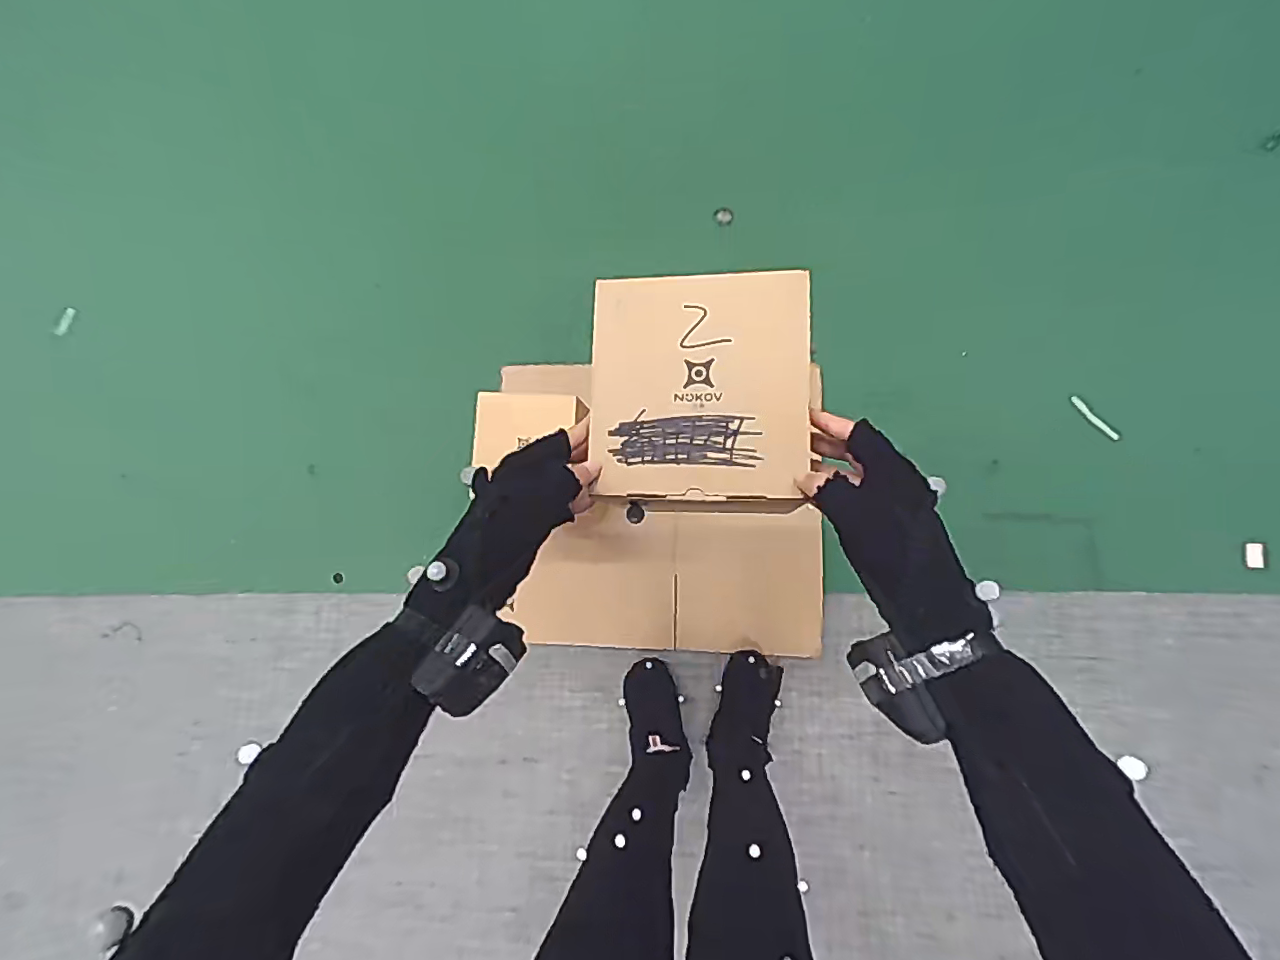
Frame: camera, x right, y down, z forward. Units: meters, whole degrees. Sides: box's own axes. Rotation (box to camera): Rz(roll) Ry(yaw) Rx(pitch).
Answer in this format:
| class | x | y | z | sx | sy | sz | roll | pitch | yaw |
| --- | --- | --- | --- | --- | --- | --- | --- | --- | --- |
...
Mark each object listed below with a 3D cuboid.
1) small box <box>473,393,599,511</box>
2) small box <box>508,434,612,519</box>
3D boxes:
| class | x | y | z | sx | sy | sz | roll | pitch | yaw |
| --- | --- | --- | --- | --- | --- | --- | --- | --- | --- |
| small box | -0.169 | -0.041 | 0.933 | 0.168 | 0.176 | 0.179 | 3 | 85 | 7 |
| small box | -0.154 | -0.013 | 1.093 | 0.168 | 0.176 | 0.179 | 2 | 84 | 8 |
